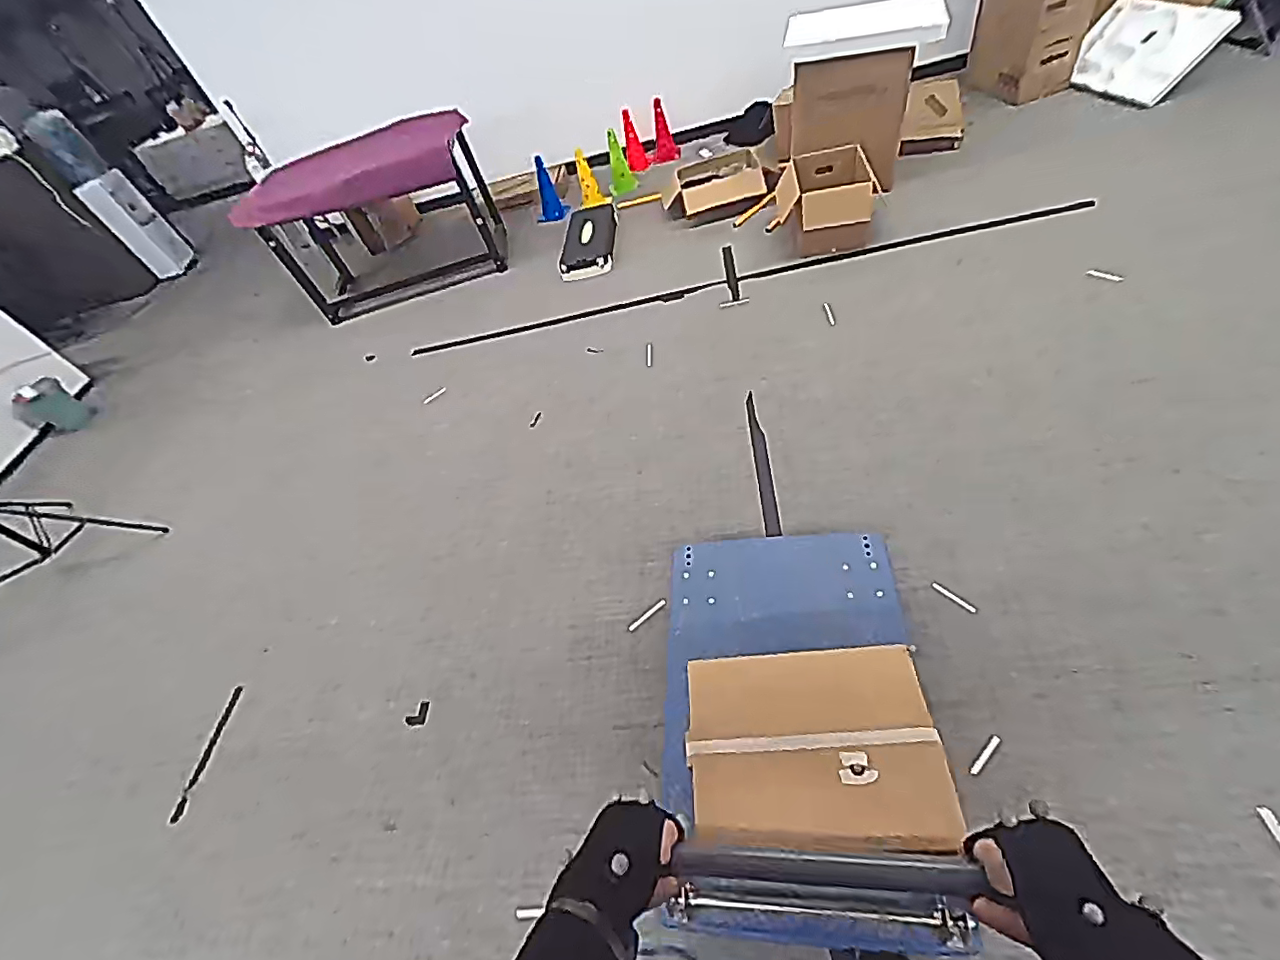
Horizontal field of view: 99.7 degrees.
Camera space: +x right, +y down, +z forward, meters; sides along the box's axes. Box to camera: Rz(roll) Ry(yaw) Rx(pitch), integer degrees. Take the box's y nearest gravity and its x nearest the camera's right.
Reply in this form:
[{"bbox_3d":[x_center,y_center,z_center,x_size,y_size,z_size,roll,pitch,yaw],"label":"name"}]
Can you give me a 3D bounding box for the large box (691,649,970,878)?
[{"bbox_3d":[0.322,0.547,1.029,0.408,0.320,0.320,-8,50,9],"label":"large box"}]
